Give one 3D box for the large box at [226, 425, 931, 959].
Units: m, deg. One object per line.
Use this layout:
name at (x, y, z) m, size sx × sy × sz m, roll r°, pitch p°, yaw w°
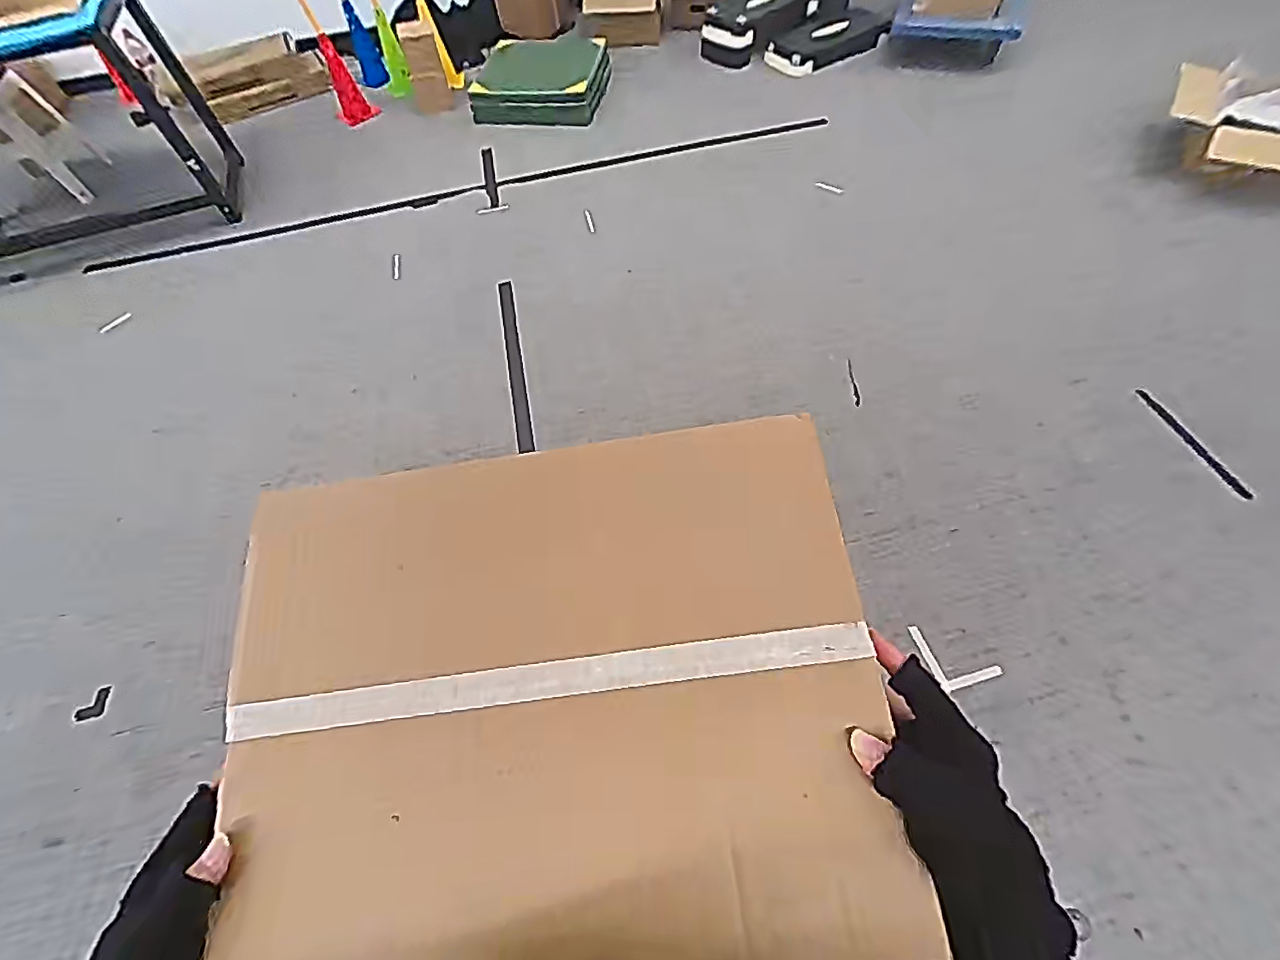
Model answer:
large box at (-0.044, 0.183, 0.485) m, size 0.408 × 0.320 × 0.320 m, roll -8°, pitch 70°, yaw 3°
